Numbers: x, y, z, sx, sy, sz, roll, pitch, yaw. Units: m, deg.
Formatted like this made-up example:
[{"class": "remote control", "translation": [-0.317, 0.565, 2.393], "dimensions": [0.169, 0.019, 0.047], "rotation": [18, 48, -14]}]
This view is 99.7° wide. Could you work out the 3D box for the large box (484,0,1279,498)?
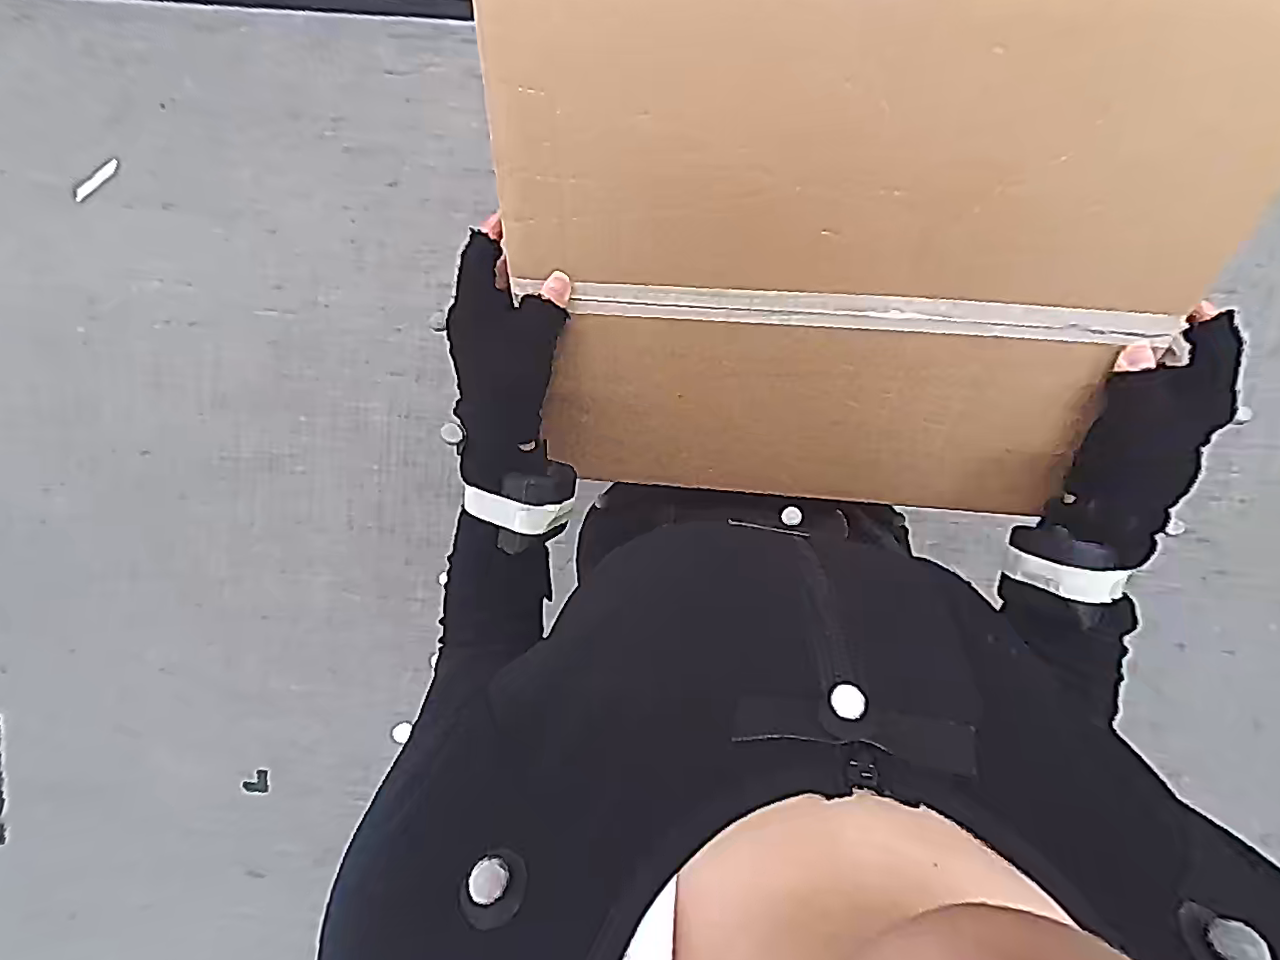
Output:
[{"class": "large box", "translation": [0.130, -0.210, 0.462], "dimensions": [0.408, 0.320, 0.320], "rotation": [5, 132, 3]}]
